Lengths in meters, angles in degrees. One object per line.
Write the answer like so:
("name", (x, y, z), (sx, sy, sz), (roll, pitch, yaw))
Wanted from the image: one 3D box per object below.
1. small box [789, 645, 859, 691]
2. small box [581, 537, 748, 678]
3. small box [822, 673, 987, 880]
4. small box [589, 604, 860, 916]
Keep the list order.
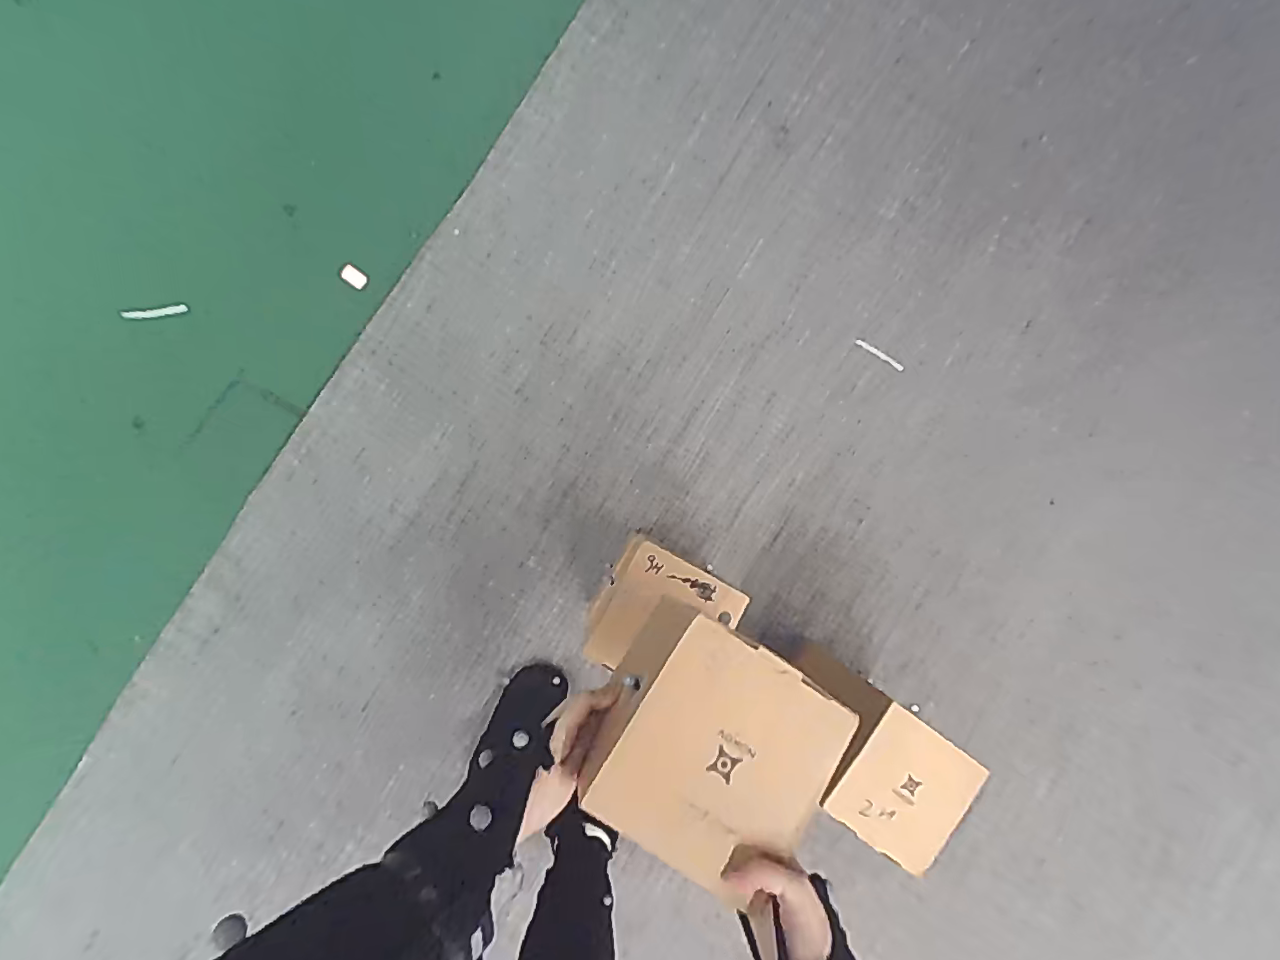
("small box", (0.338, 0.425, 0.966), (0.168, 0.176, 0.179), (39, 88, -1))
("small box", (0.031, 0.200, 0.794), (0.168, 0.176, 0.179), (30, 87, -1))
("small box", (0.350, 0.419, 0.801), (0.168, 0.176, 0.179), (36, 86, 0))
("small box", (0.061, 0.234, 0.509), (0.168, 0.176, 0.179), (34, 80, -2))
